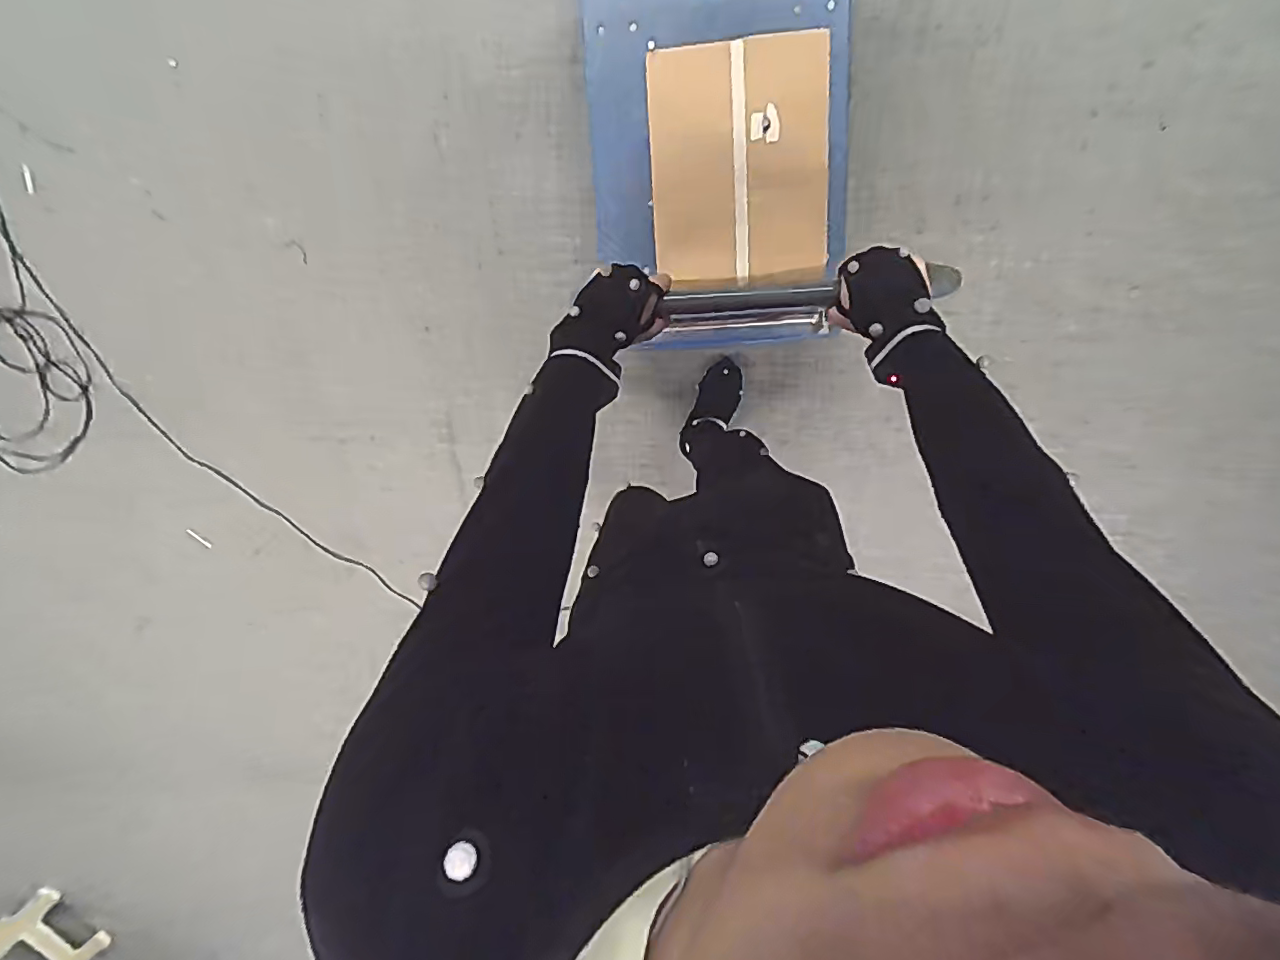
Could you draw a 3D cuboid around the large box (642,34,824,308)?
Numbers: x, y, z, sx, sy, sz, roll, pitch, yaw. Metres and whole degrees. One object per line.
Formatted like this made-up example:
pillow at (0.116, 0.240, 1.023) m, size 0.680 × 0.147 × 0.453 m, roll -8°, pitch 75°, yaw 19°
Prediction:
large box at (0.184, -0.587, 1.115) m, size 0.320 × 0.320 × 0.408 m, roll -3°, pitch 103°, yaw 5°
